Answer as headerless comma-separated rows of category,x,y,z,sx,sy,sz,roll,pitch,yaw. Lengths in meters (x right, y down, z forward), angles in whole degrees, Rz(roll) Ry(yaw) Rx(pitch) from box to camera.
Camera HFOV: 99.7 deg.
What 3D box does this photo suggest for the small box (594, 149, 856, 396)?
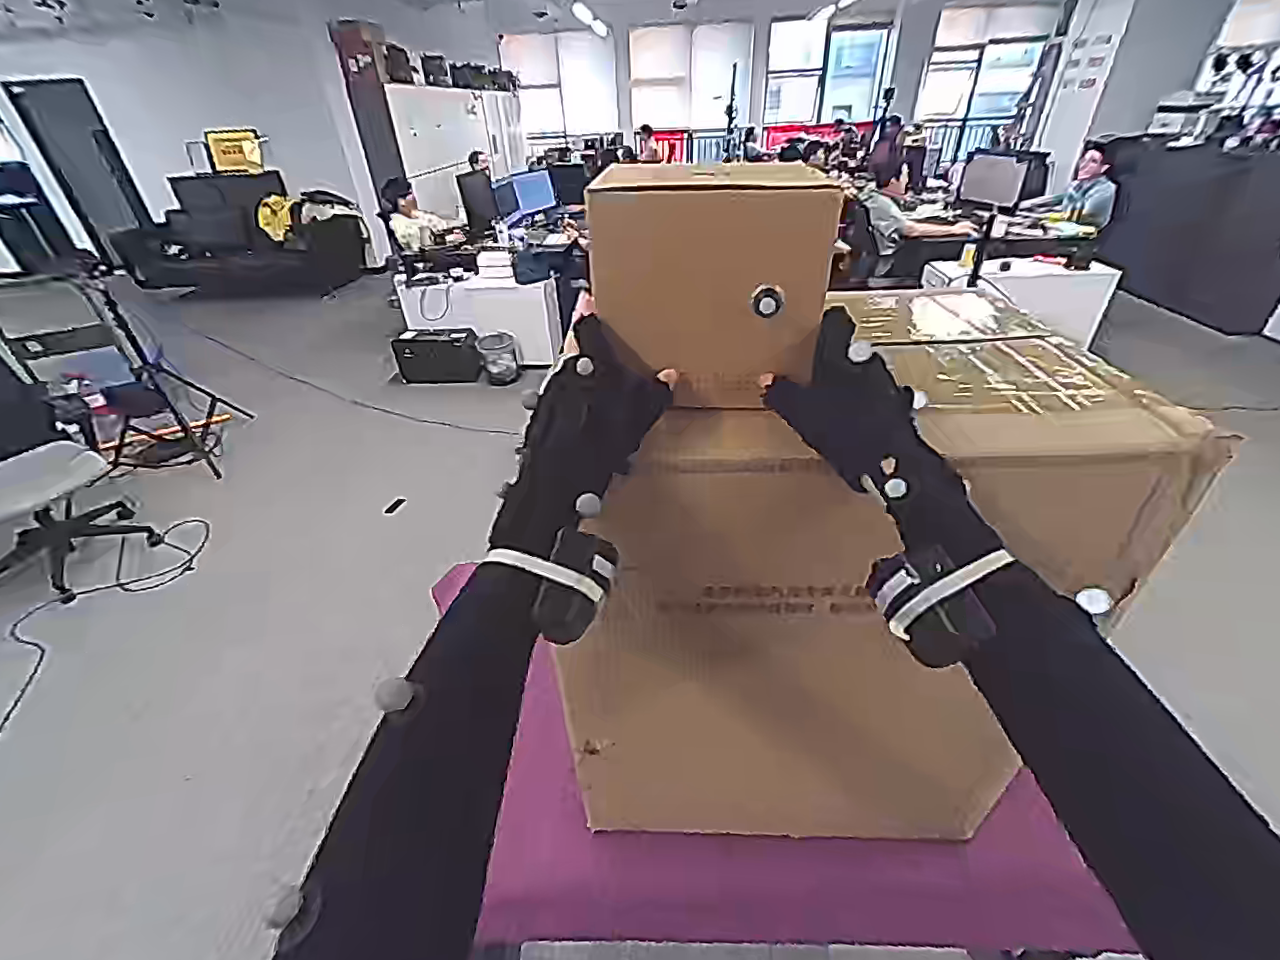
small box,0.063,-0.180,0.468,0.179,0.176,0.168,1,34,4
